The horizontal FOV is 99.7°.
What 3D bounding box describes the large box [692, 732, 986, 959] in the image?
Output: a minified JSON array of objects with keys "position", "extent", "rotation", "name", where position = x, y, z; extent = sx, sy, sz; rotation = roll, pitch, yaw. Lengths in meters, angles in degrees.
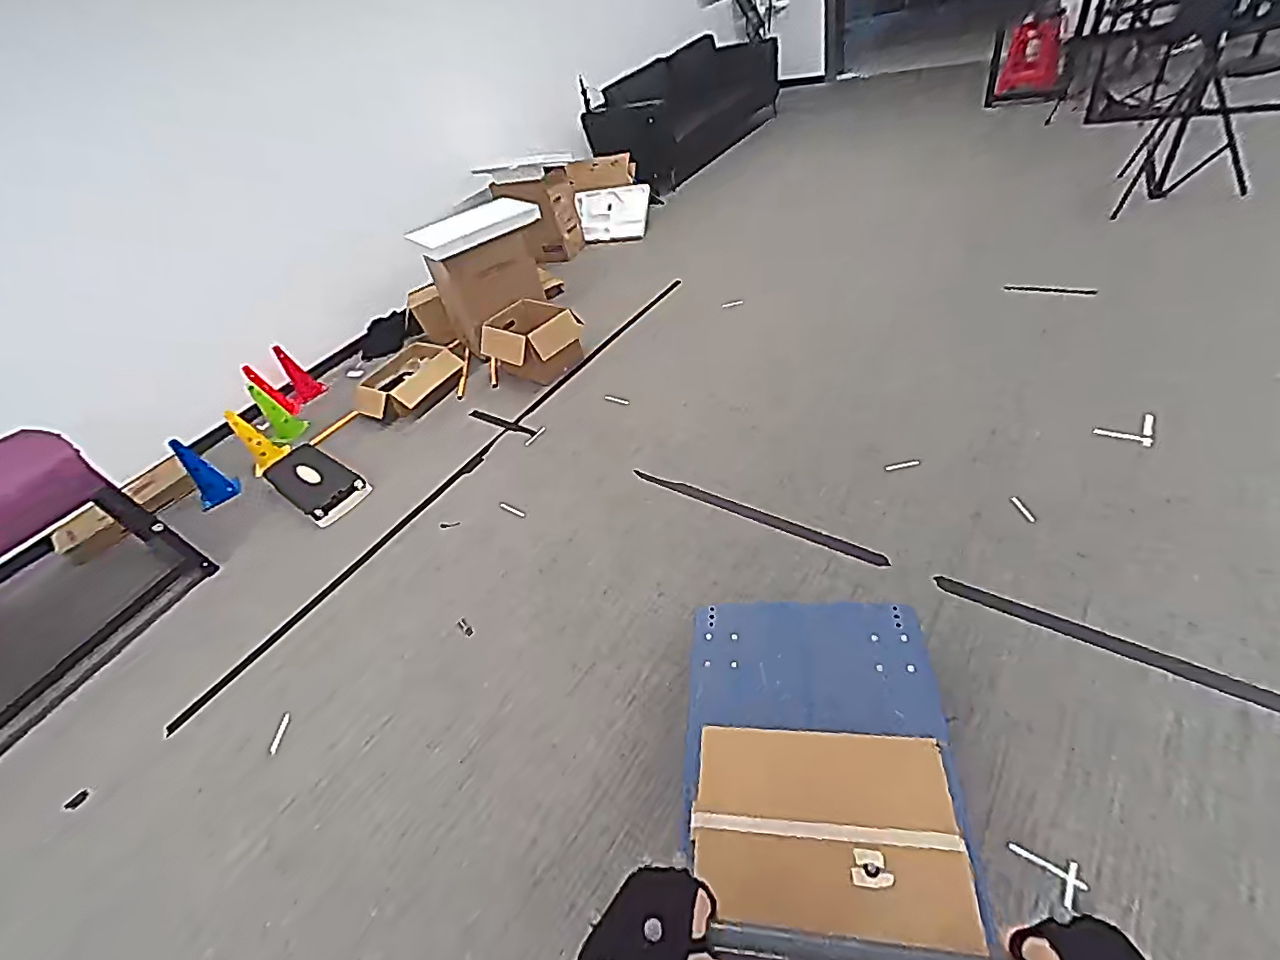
[{"position":[0.315,0.675,0.957],"extent":[0.408,0.320,0.320],"rotation":[-3,44,14],"name":"large box"}]
